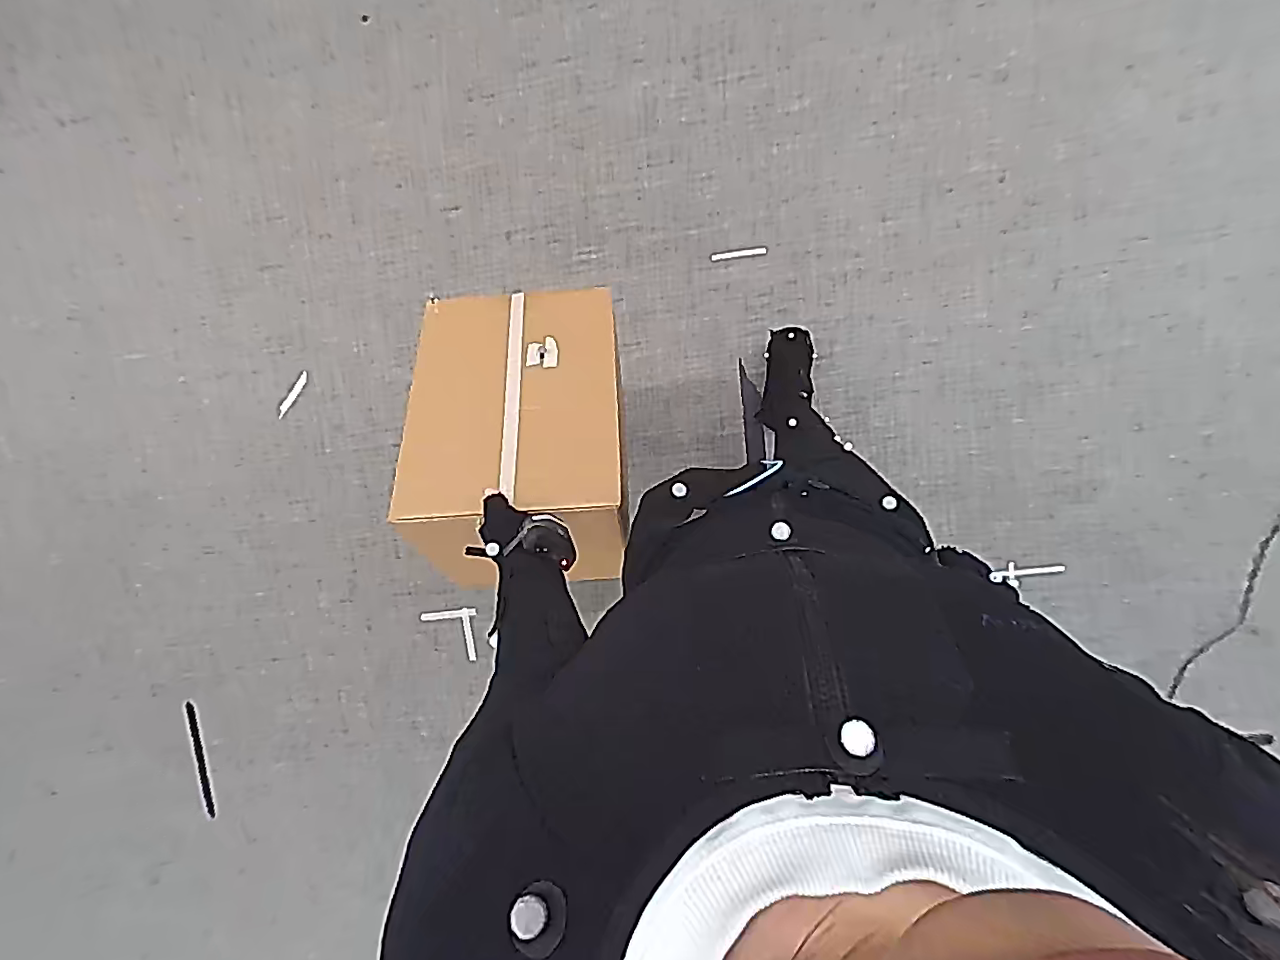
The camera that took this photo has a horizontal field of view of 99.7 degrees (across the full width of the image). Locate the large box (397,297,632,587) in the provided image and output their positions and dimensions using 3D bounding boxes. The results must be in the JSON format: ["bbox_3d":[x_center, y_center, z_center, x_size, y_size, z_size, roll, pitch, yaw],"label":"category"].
[{"bbox_3d":[-0.186,-0.057,0.959,0.320,0.320,0.408,-3,61,0],"label":"large box"}]
